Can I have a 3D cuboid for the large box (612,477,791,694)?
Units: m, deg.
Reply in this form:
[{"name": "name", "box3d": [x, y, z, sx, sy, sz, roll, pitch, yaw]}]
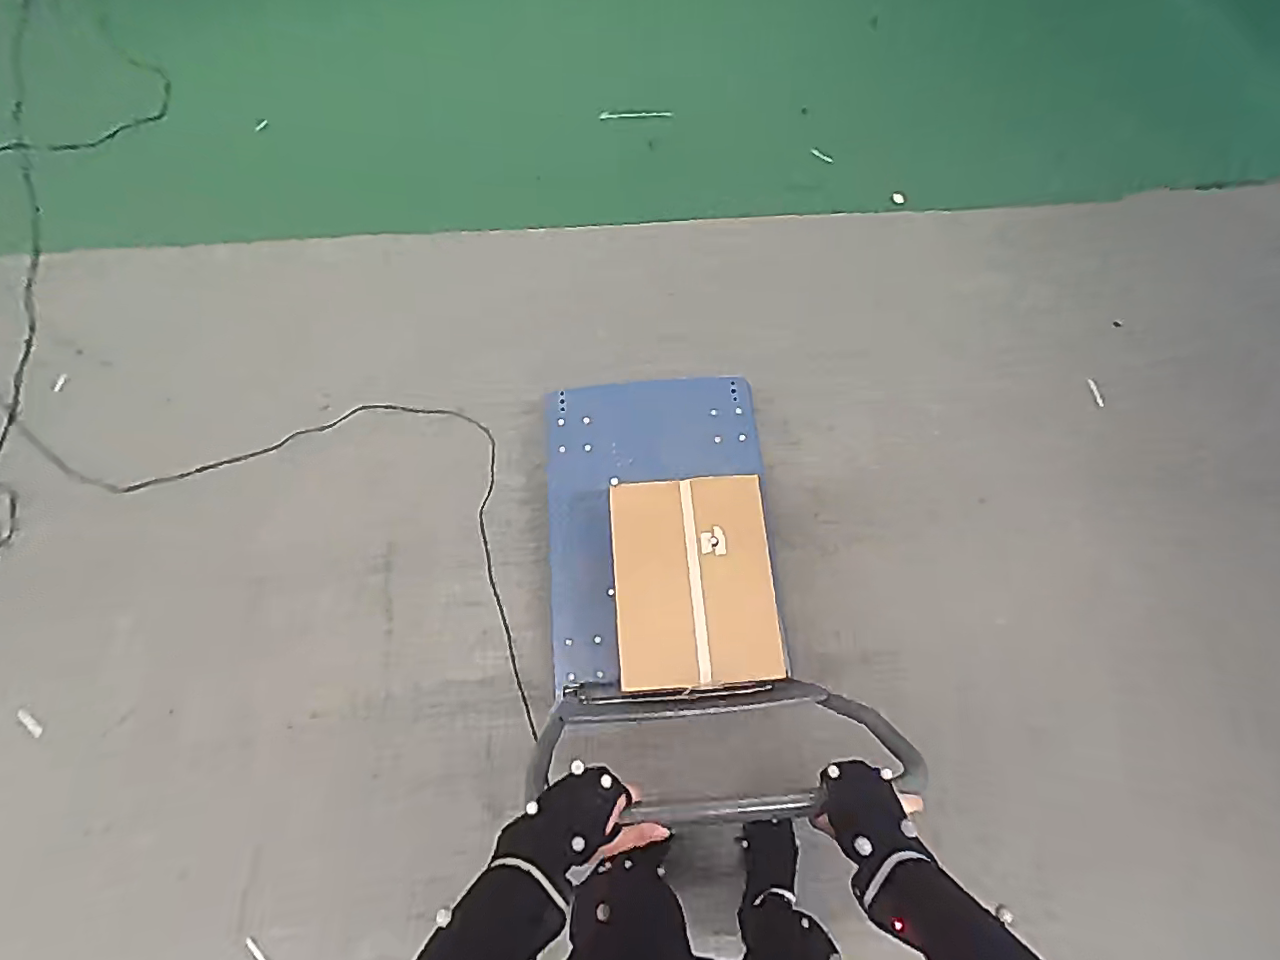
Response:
[{"name": "large box", "box3d": [0.112, 0.240, 1.198, 0.320, 0.320, 0.408, -4, 72, -3]}]
